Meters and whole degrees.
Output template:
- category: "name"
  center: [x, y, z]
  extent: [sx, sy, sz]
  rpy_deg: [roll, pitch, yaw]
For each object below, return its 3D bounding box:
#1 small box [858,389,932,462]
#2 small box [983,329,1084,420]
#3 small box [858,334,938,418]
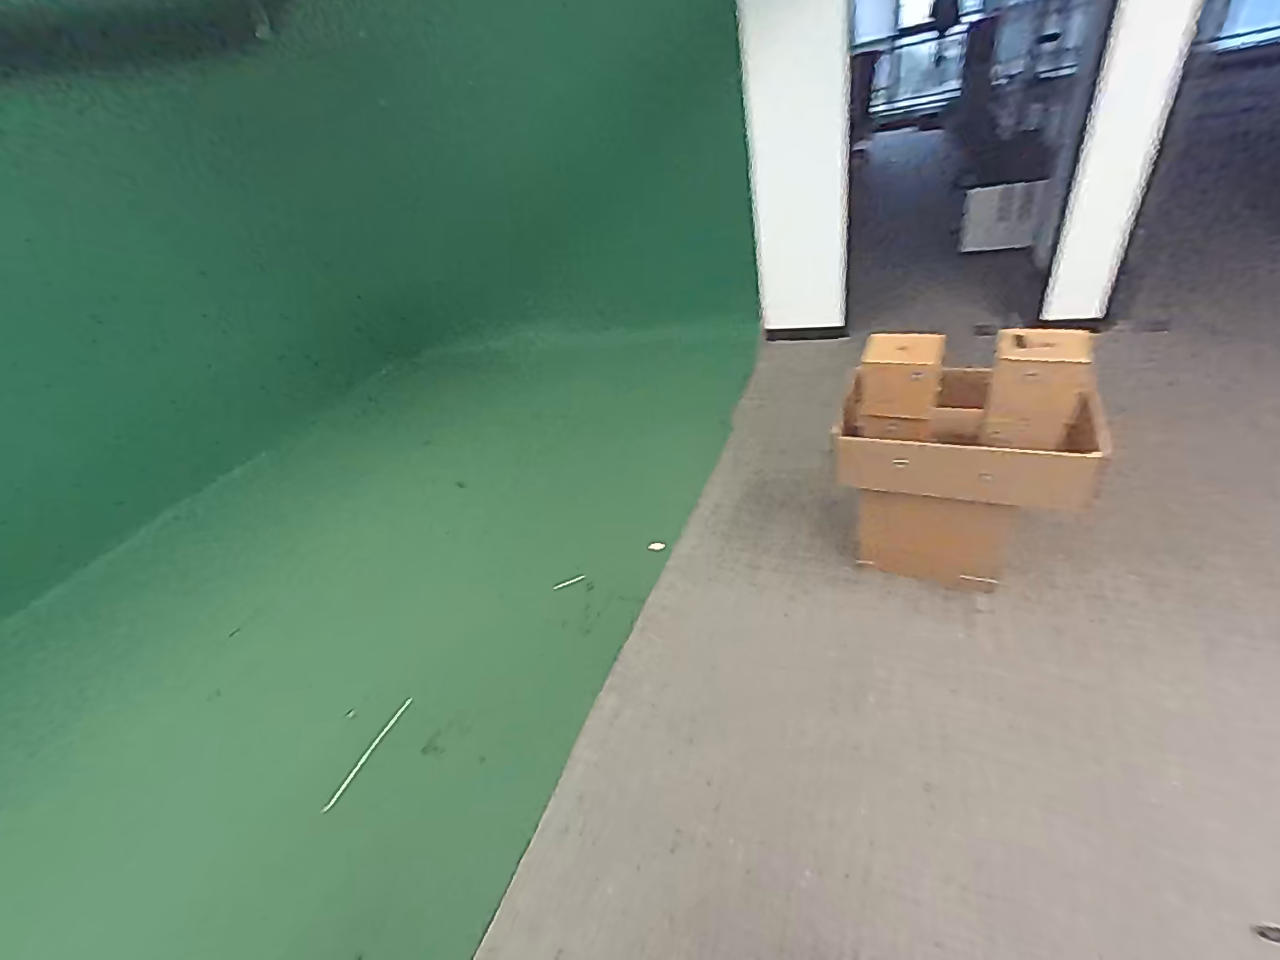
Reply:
- category: "small box"
  center: [0.745, -0.169, 1.589]
  extent: [0.179, 0.176, 0.168]
  rpy_deg: [9, 44, 27]
- category: "small box"
  center: [0.975, -0.264, 1.351]
  extent: [0.179, 0.176, 0.168]
  rpy_deg: [10, 44, 28]
- category: "small box"
  center: [0.703, -0.285, 1.481]
  extent: [0.179, 0.176, 0.168]
  rpy_deg: [9, 44, 28]
